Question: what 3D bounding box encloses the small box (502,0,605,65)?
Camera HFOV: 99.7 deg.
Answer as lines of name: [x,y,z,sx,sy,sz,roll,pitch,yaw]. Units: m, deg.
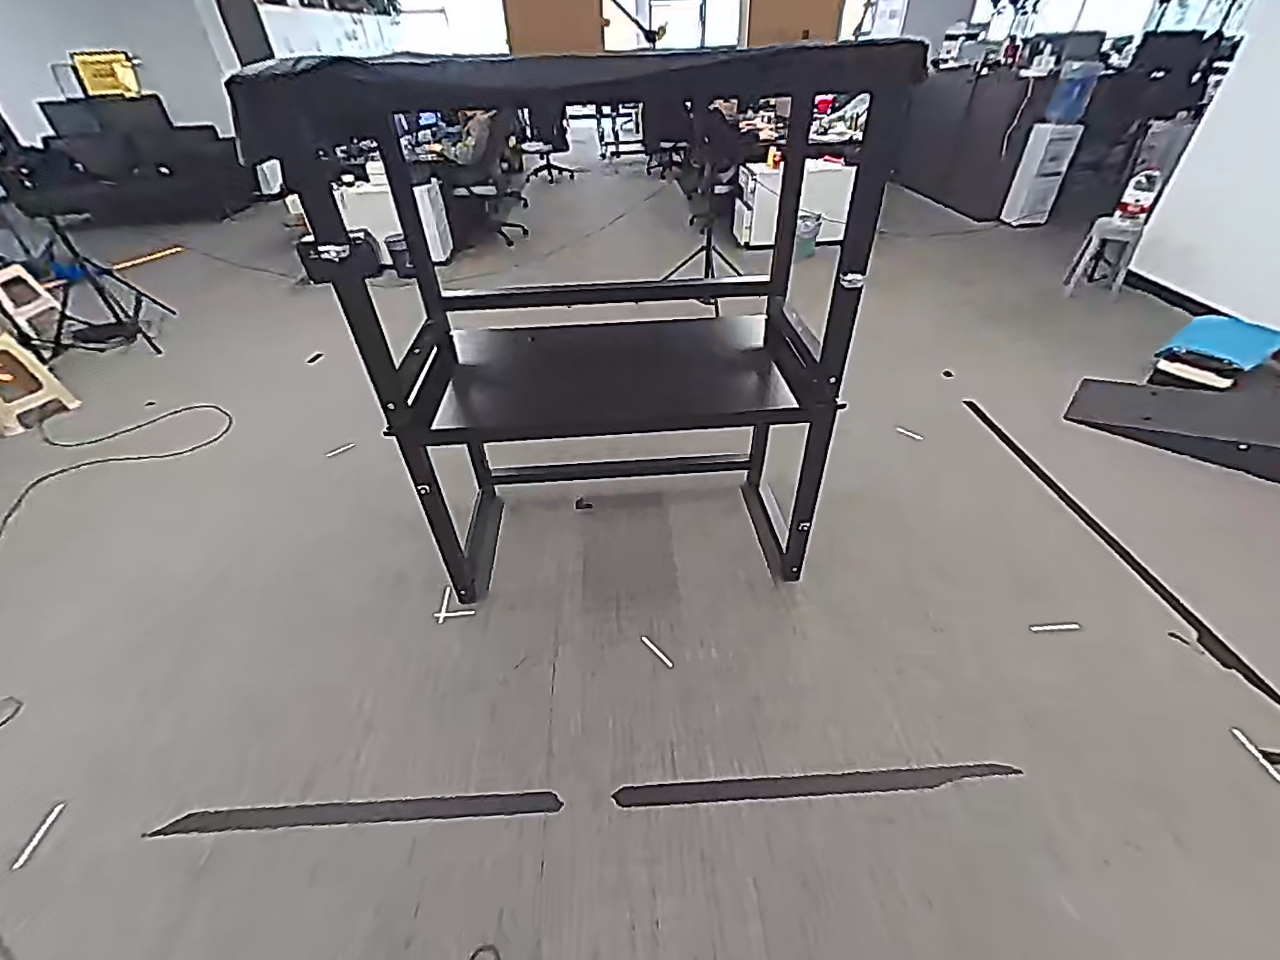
small box: [-0.162,-0.873,0.994,0.179,0.176,0.168,-5,38,-4]
